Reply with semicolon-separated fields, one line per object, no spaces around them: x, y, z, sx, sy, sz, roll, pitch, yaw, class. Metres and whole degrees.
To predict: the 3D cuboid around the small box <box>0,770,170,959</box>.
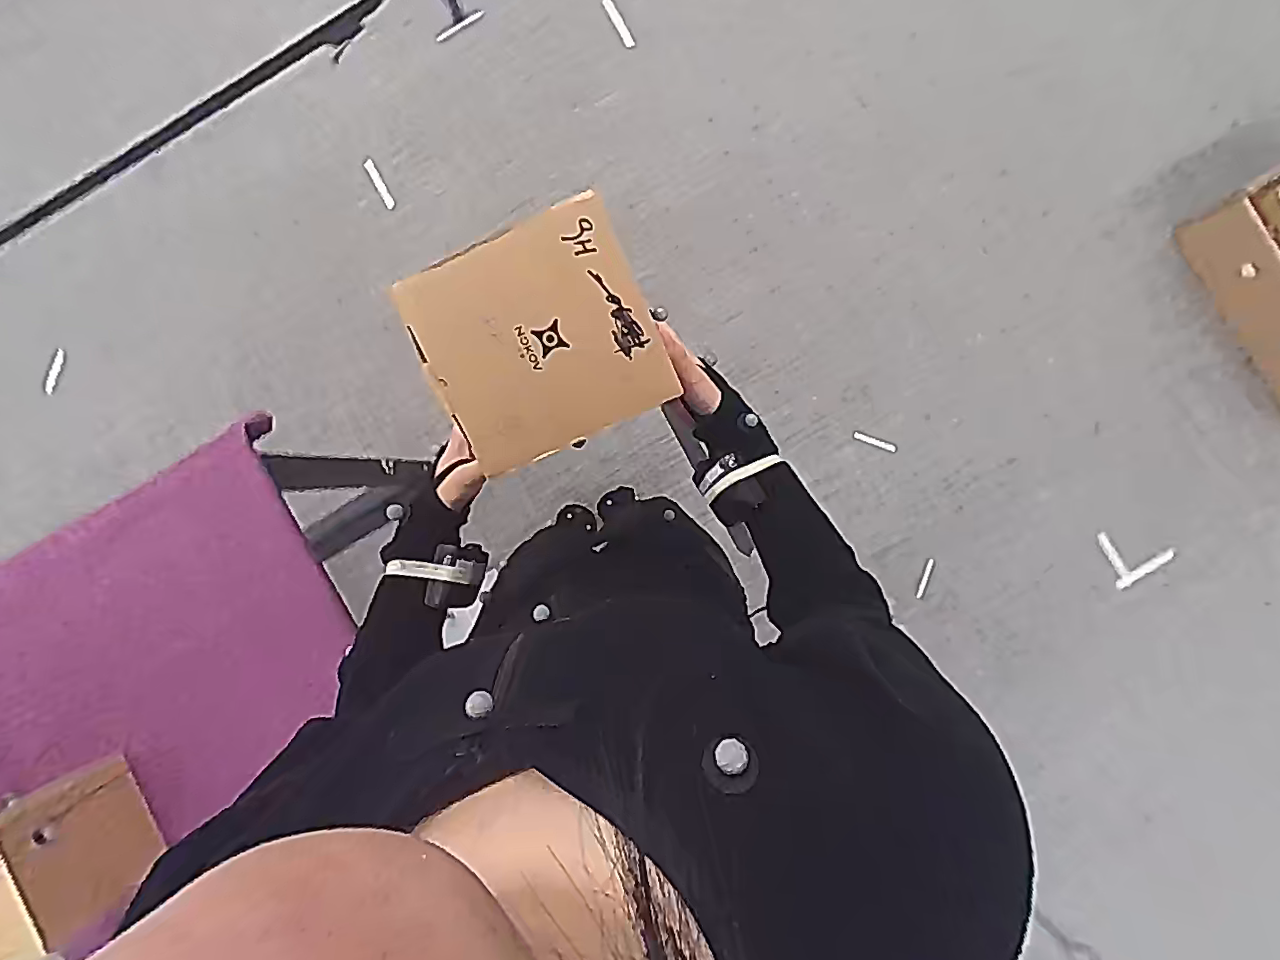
-0.793;0.520;0.715;0.168;0.176;0.179;-26;90;1;small box

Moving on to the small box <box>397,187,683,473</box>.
-0.074;-0.125;0.490;0.179;0.176;0.168;-22;103;4;small box
